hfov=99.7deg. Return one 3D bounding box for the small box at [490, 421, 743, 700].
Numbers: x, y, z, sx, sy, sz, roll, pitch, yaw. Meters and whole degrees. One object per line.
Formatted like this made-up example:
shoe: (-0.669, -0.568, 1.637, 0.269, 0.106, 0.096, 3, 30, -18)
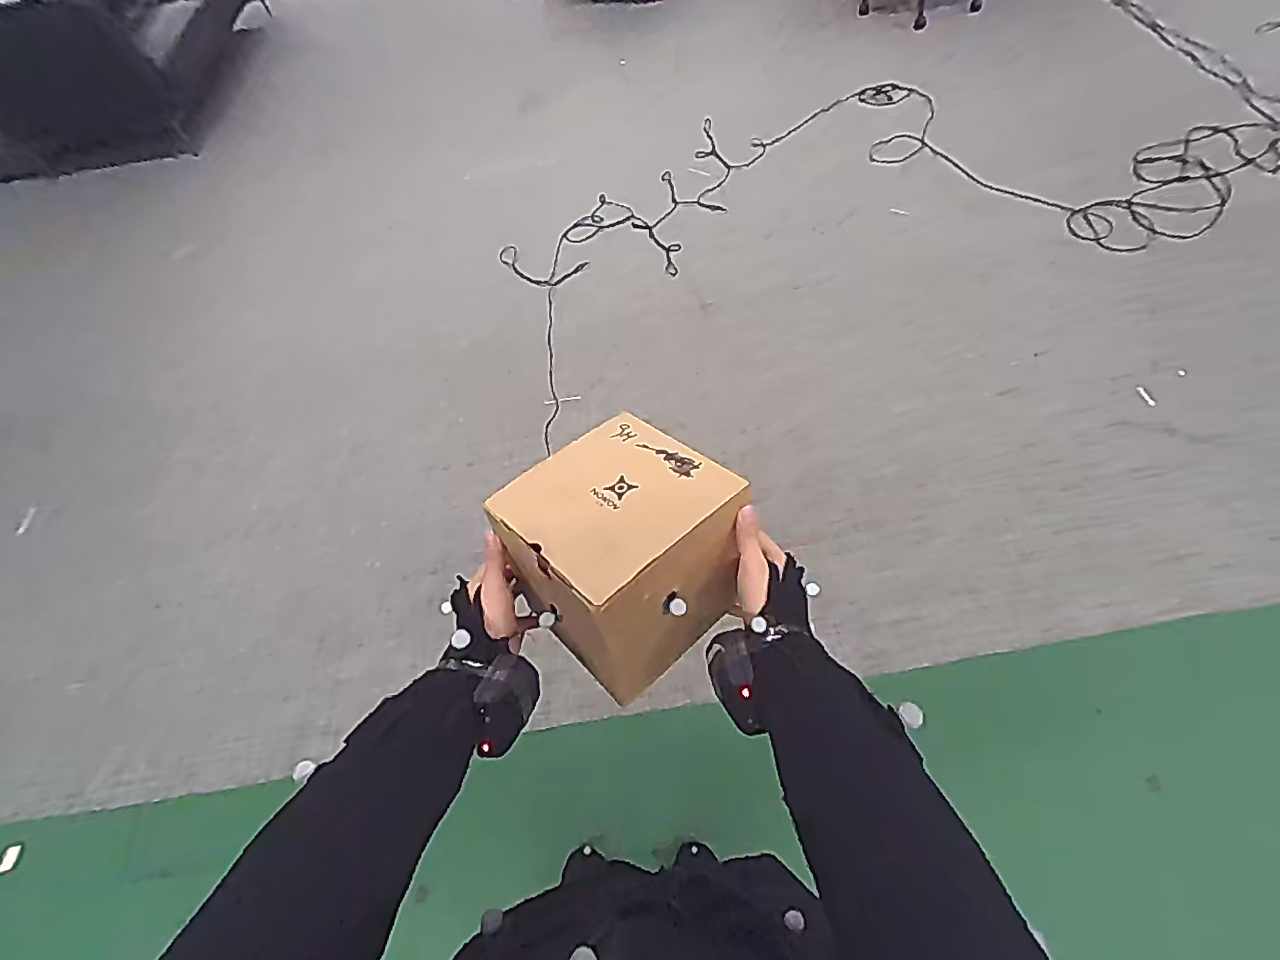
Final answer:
small box: (-0.012, 0.077, 0.535, 0.179, 0.176, 0.168, -36, 49, -25)
